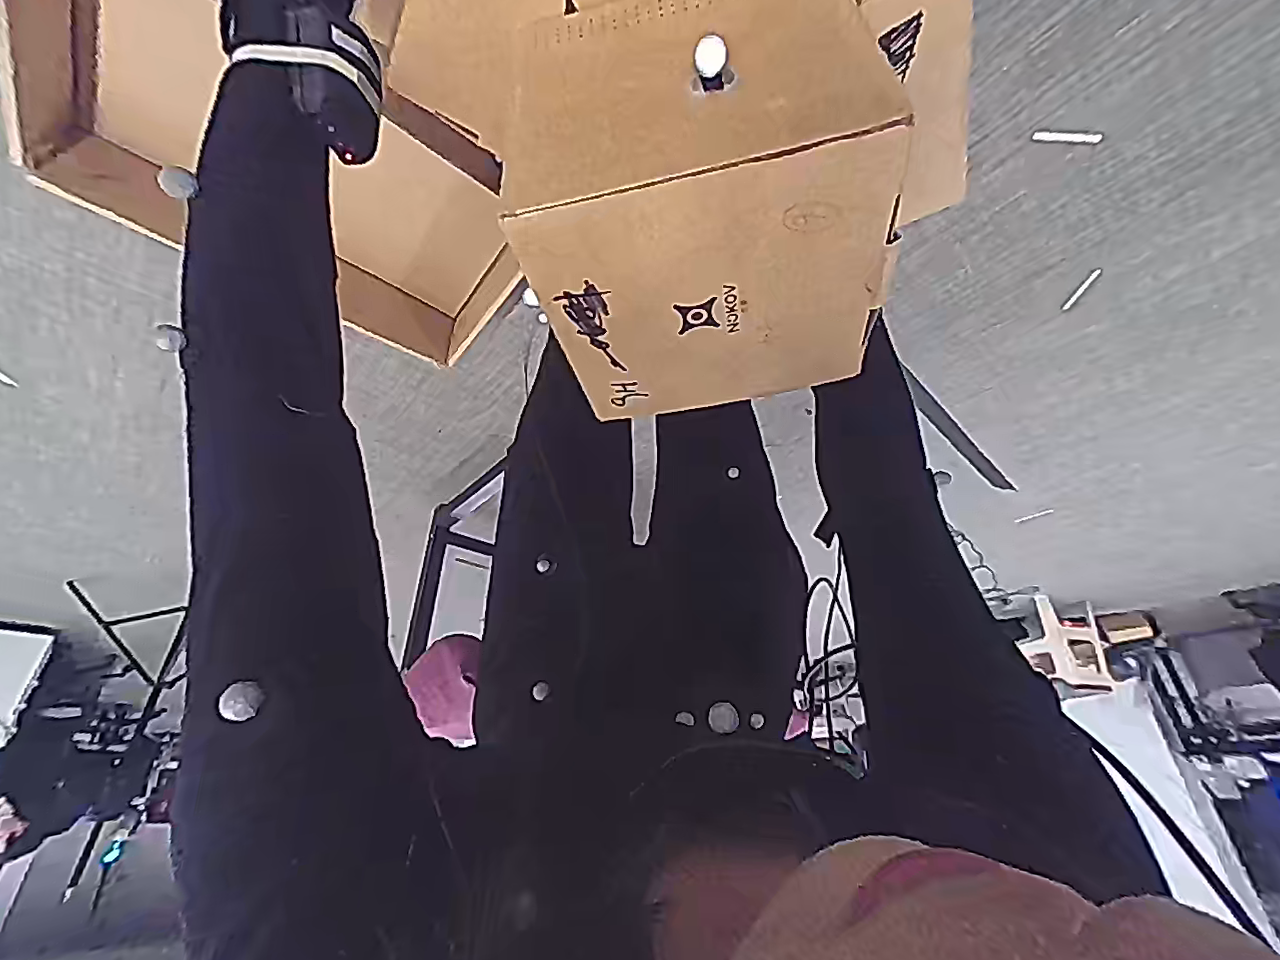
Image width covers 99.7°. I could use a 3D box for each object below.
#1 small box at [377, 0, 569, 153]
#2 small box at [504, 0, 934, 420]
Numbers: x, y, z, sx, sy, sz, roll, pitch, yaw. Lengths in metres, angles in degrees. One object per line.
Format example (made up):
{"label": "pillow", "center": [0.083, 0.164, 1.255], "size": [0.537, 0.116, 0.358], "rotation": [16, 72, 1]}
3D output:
{"label": "small box", "center": [-0.048, -0.331, 0.338], "size": [0.168, 0.176, 0.179], "rotation": [12, 147, -34]}
{"label": "small box", "center": [0.034, -0.162, 0.317], "size": [0.179, 0.176, 0.168], "rotation": [-10, 152, 9]}
